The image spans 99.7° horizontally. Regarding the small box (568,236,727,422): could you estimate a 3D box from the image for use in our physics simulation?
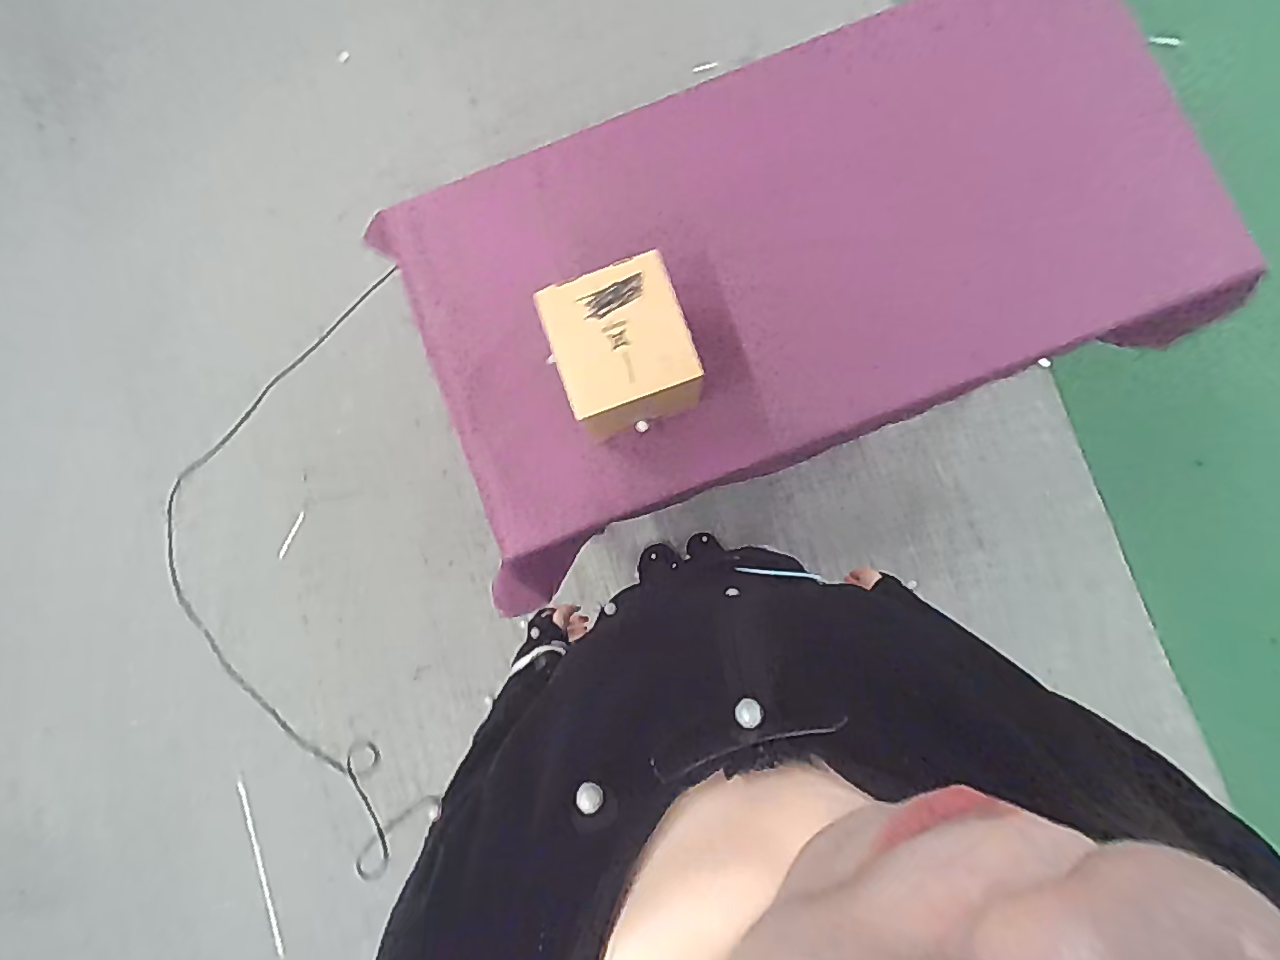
[{"bbox_3d":[0.011,-0.194,0.744,0.168,0.176,0.179,-15,85,2],"label":"small box"}]
